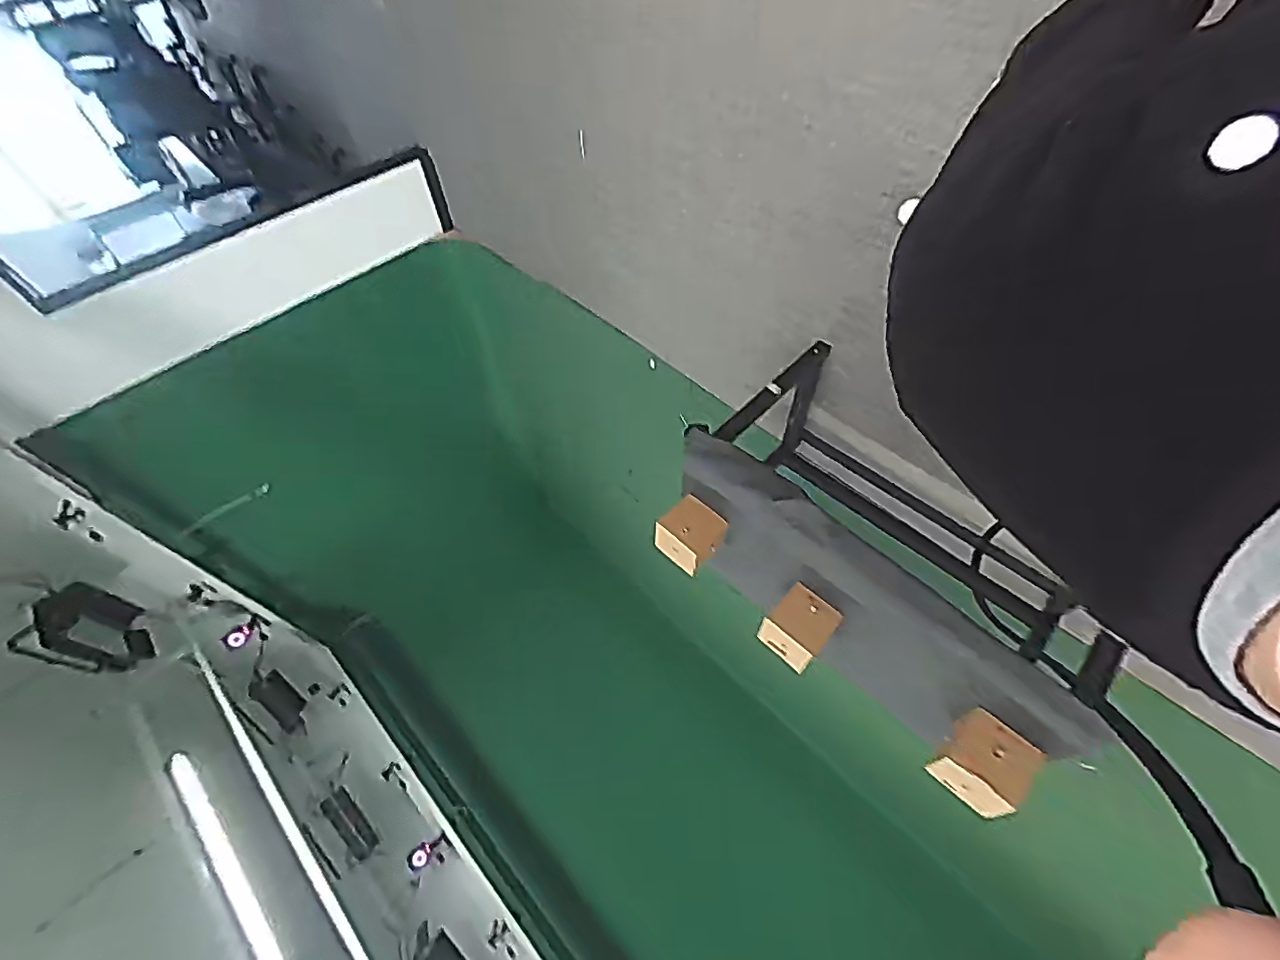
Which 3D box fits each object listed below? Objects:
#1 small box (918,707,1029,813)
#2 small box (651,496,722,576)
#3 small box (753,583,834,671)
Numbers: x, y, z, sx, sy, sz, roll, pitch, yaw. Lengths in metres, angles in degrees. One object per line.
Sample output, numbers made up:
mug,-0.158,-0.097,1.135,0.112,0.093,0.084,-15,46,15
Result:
small box,0.873,0.727,1.413,0.168,0.176,0.179,37,153,27
small box,0.157,0.186,1.841,0.179,0.176,0.168,40,153,23
small box,0.479,0.457,1.690,0.168,0.176,0.179,37,152,24
